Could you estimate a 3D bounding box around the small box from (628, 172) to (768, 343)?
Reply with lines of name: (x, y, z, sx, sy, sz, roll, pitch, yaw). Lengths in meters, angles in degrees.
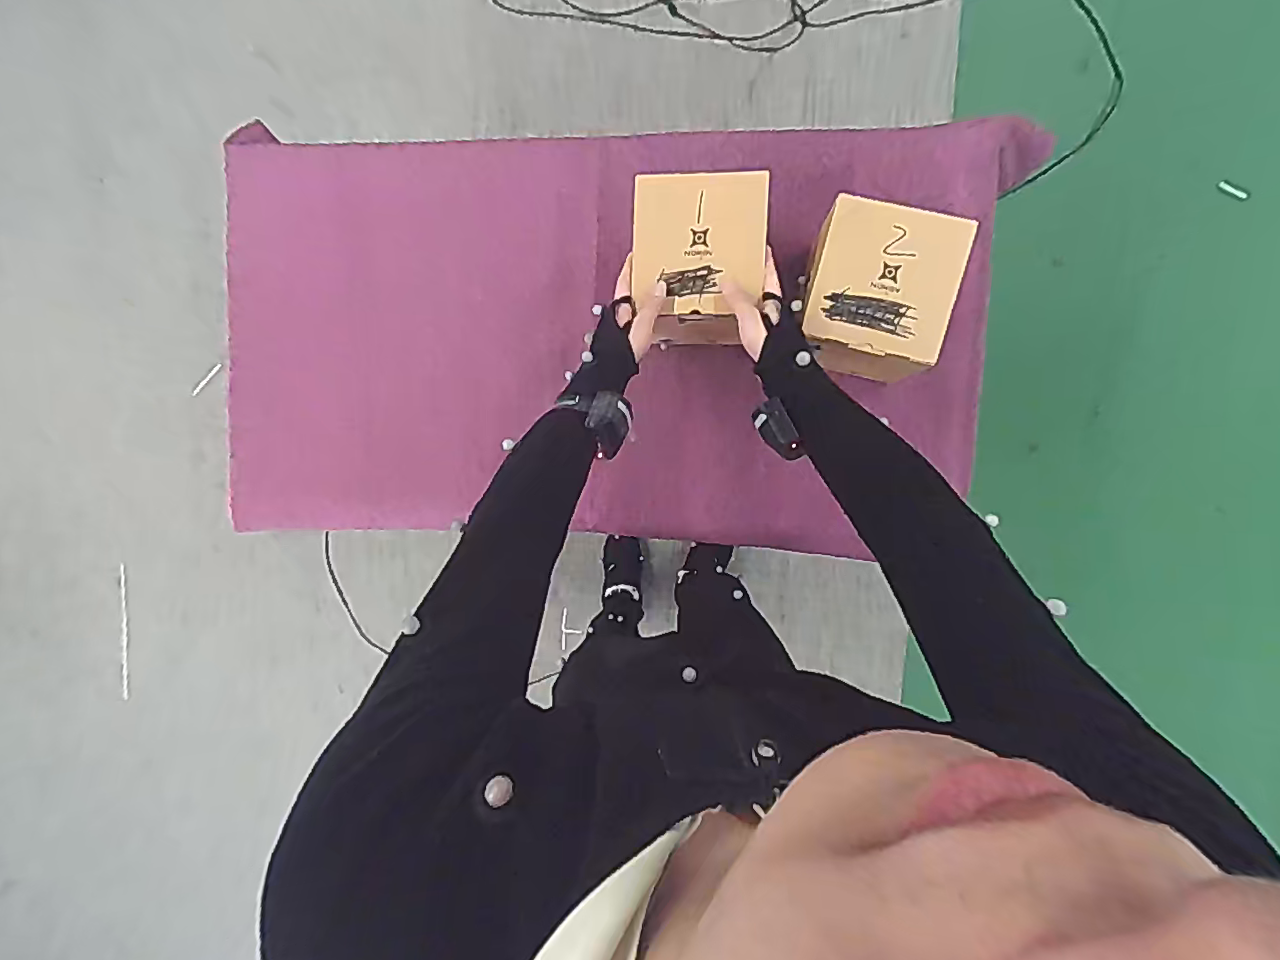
small box: (0.082, -0.289, 0.739, 0.168, 0.176, 0.179, 3, 92, 8)
